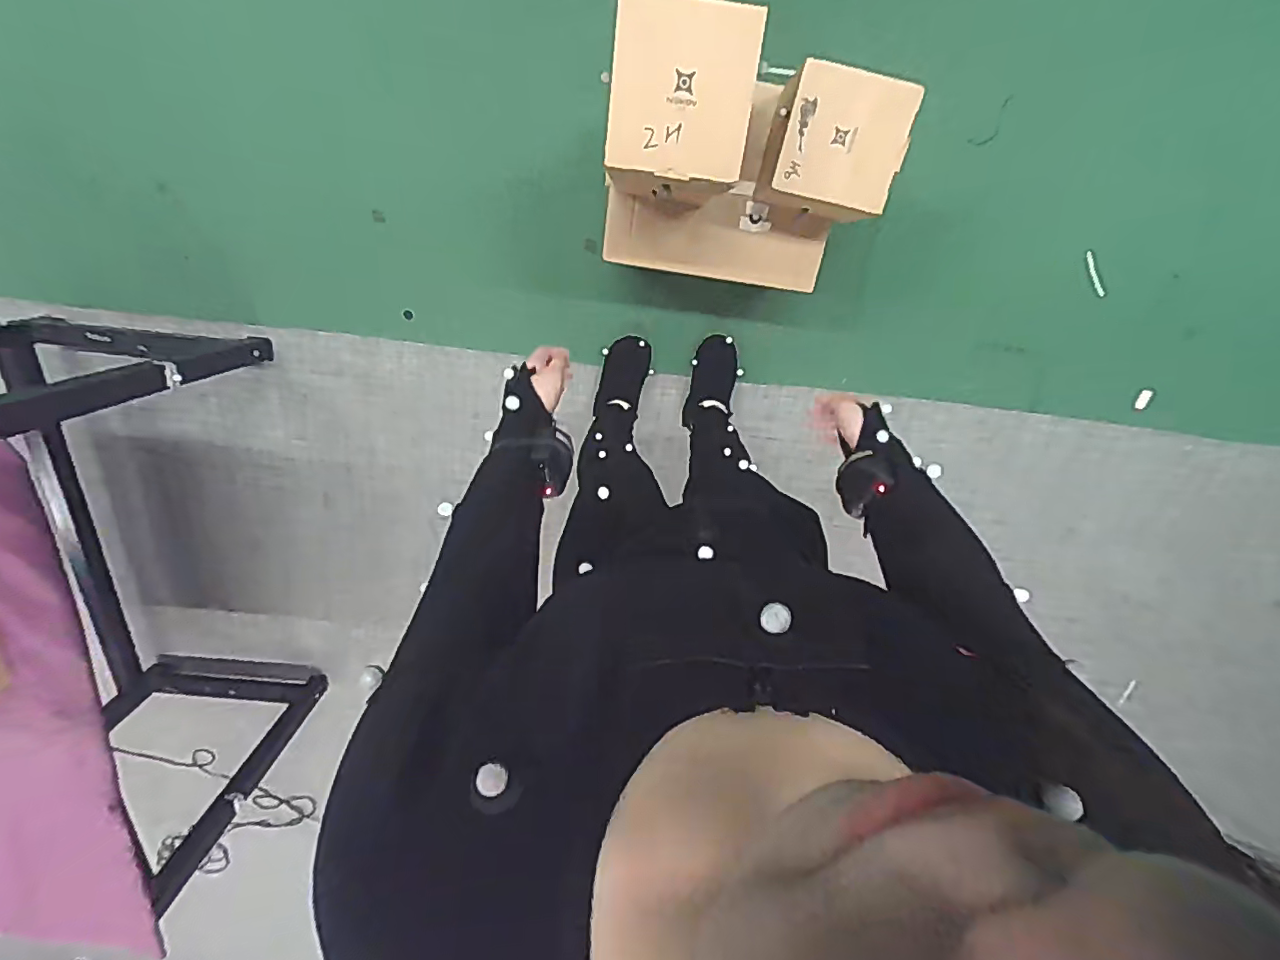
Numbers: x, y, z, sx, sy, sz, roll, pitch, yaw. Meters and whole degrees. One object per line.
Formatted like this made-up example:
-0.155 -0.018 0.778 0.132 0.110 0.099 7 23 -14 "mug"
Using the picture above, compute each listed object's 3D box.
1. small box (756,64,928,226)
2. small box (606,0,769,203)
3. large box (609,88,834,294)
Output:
0.298 -0.503 0.841 0.179 0.176 0.168 13 112 -4 "small box"
0.051 -0.467 0.688 0.168 0.176 0.179 7 113 -2 "small box"
0.155 -0.566 1.085 0.408 0.320 0.320 7 113 -2 "large box"
